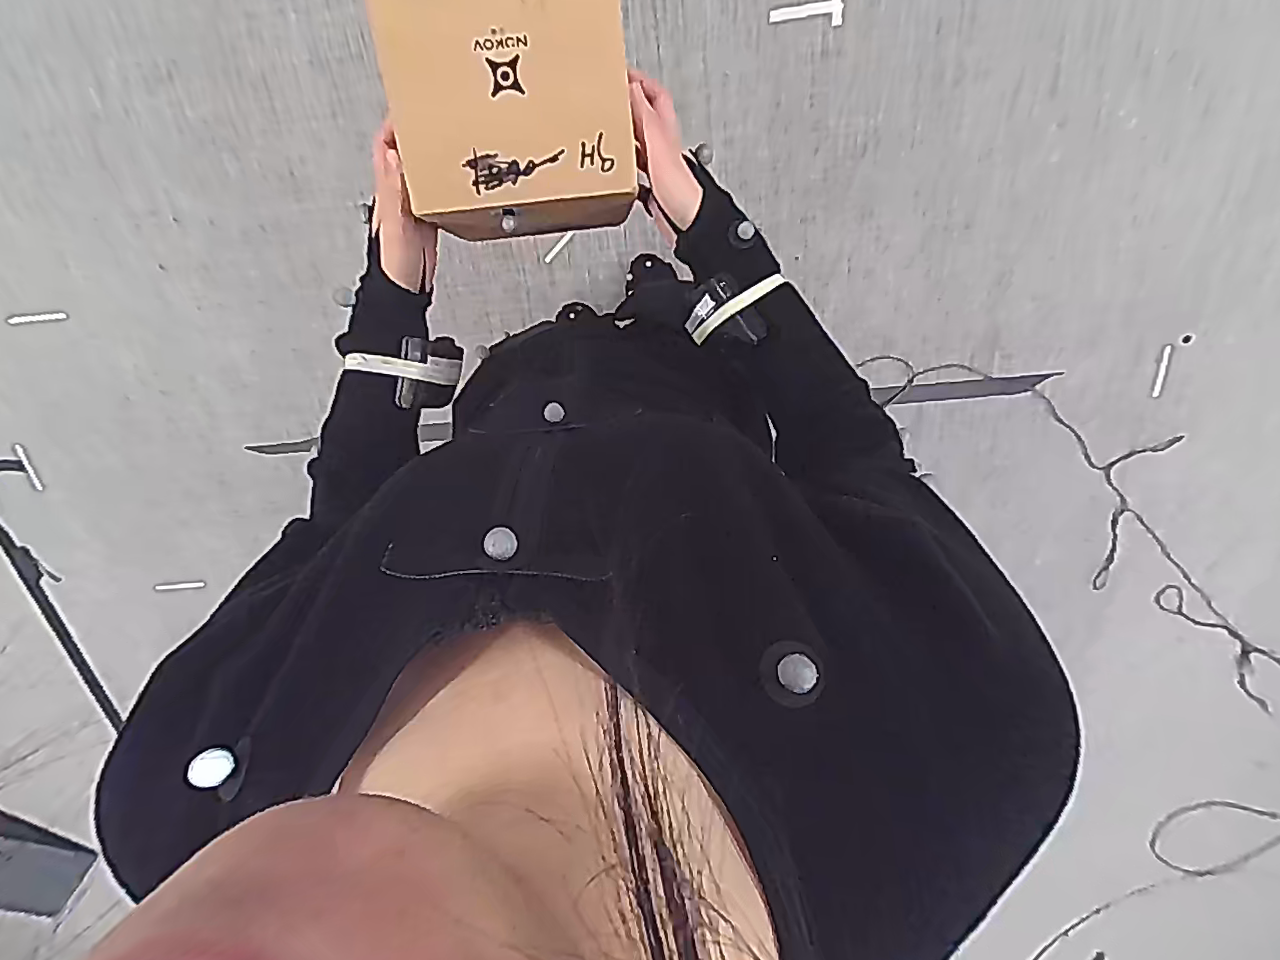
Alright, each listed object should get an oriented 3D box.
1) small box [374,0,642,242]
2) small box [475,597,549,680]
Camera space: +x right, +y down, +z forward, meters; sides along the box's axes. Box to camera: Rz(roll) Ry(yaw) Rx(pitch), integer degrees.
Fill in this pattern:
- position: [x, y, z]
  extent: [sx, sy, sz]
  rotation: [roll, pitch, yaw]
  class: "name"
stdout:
- position: [-0.095, -0.304, 0.438]
  extent: [0.168, 0.176, 0.179]
  rotation: [-8, 108, -3]
  class: "small box"
- position: [-0.385, 0.476, 1.644]
  extent: [0.179, 0.176, 0.168]
  rotation: [10, 110, -6]
  class: "small box"
